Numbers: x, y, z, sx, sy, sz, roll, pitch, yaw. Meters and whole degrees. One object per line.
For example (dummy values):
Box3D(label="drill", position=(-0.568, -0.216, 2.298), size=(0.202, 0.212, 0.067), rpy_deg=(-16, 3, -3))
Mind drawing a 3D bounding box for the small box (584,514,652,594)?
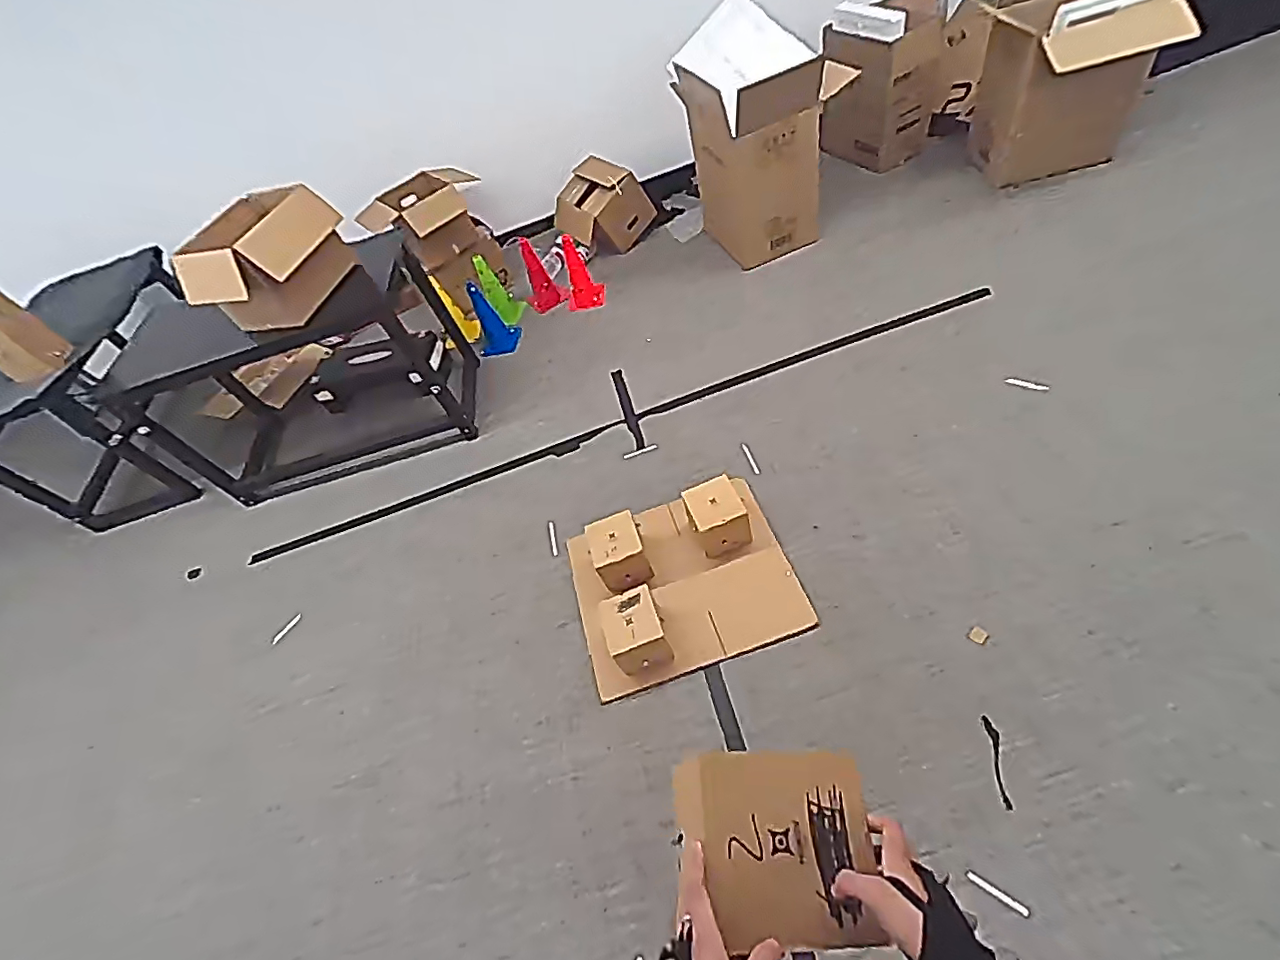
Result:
Box3D(label="small box", position=(-0.071, 0.250, 1.812), size=(0.168, 0.176, 0.179), rpy_deg=(-21, 50, 1))

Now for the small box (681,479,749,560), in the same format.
Box3D(label="small box", position=(0.253, 0.135, 1.810), size=(0.168, 0.176, 0.179), rpy_deg=(-23, 50, -1))

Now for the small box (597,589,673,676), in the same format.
Box3D(label="small box", position=(-0.014, 0.463, 1.631), size=(0.168, 0.176, 0.179), rpy_deg=(-22, 51, 1))
